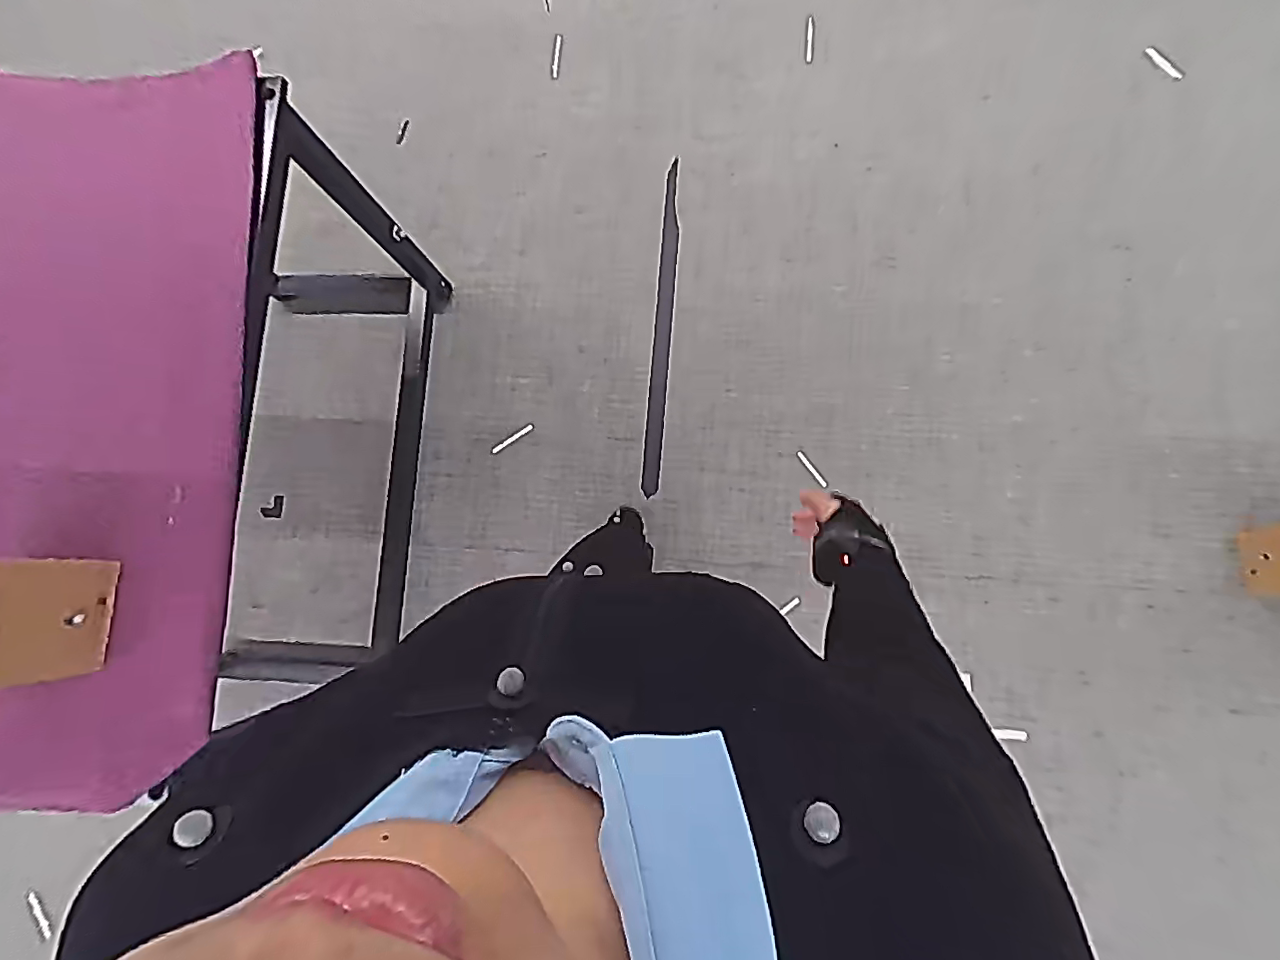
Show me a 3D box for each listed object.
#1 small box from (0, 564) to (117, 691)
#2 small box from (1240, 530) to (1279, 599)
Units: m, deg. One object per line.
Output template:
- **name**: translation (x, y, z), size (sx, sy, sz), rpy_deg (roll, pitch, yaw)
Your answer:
- **small box**: translation (-0.902, 0.200, 0.751), size (0.179, 0.176, 0.168), rpy_deg (0, 81, 5)
- **small box**: translation (1.615, 0.200, 1.288), size (0.179, 0.176, 0.168), rpy_deg (-2, 81, 5)
